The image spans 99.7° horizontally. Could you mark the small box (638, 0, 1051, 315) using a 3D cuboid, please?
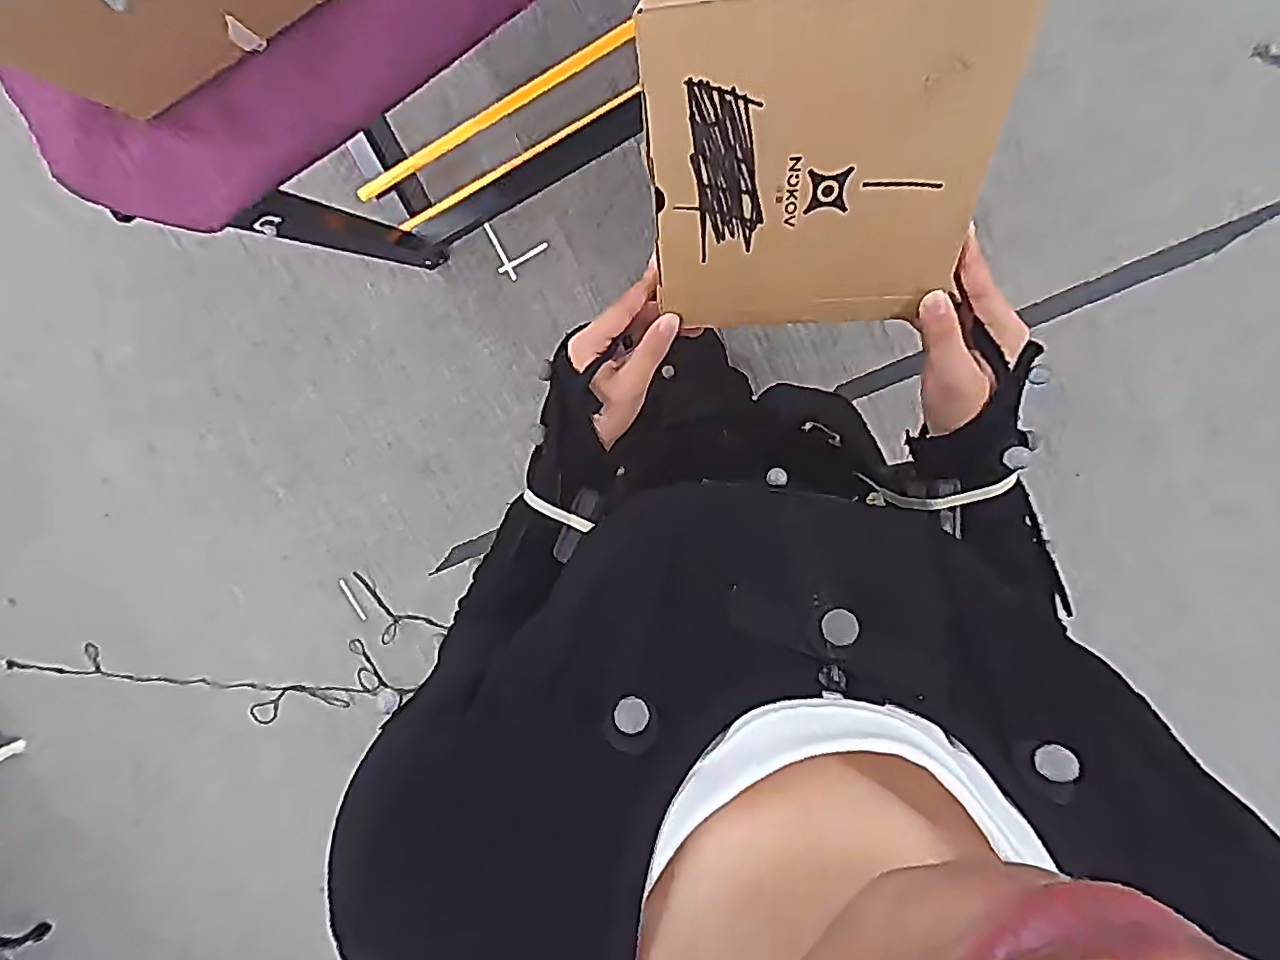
[{"bbox_3d":[0.100,-0.221,0.333,0.179,0.176,0.168,-1,138,8],"label":"small box"}]
